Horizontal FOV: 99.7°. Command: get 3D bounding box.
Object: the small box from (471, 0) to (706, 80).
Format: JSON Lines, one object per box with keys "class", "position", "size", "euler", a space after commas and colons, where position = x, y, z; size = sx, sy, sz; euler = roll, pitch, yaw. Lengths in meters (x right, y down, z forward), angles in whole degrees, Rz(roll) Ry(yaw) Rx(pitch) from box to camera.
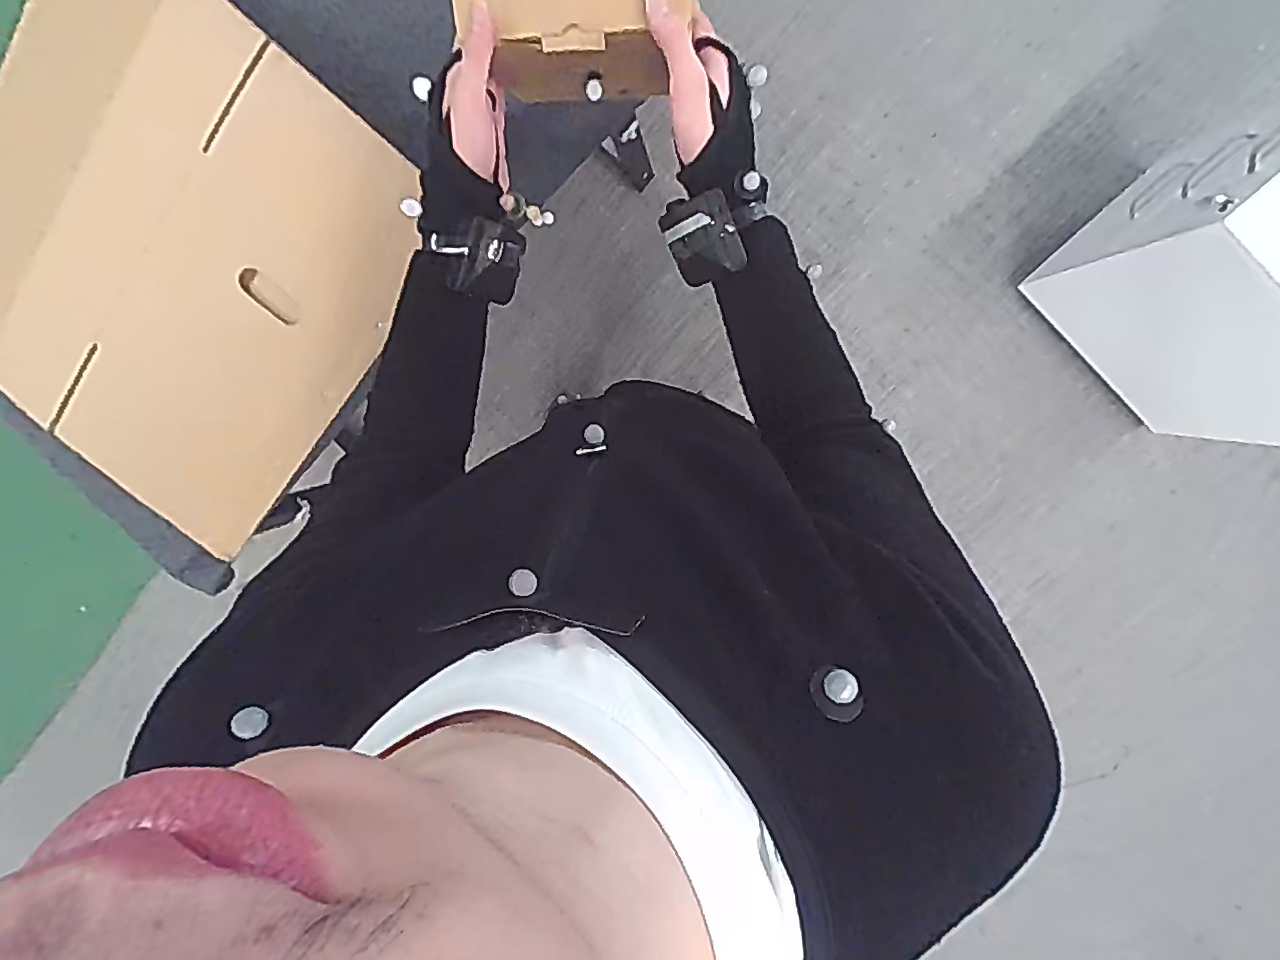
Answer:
{"class": "small box", "position": [-0.032, -0.429, 0.411], "size": [0.168, 0.176, 0.179], "euler": [-1, 114, 6]}
